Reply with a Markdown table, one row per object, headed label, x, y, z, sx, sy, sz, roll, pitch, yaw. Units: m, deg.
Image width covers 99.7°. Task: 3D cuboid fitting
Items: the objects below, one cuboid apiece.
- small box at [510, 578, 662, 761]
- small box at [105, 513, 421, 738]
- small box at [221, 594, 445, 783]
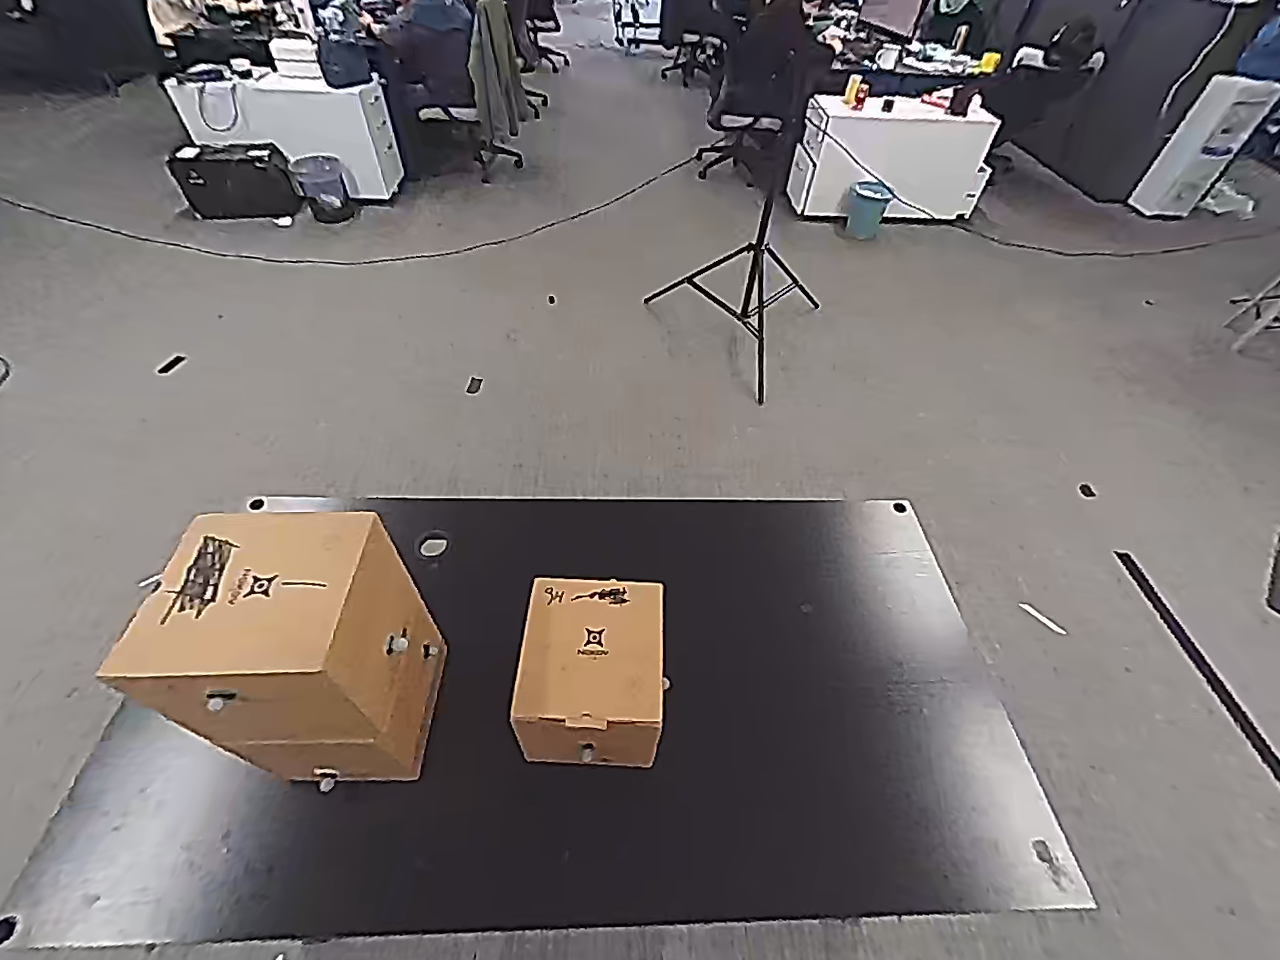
| label | x | y | z | sx | sy | sz | roll | pitch | yaw |
| --- | --- | --- | --- | --- | --- | --- | --- | --- | --- |
| small box | -0.058 | 0.246 | 0.694 | 0.168 | 0.176 | 0.179 | 3 | 49 | 0 |
| small box | -0.346 | 0.149 | 0.545 | 0.179 | 0.176 | 0.168 | -1 | 48 | -4 |
| small box | -0.353 | 0.257 | 0.669 | 0.168 | 0.176 | 0.179 | 0 | 49 | -2 |
